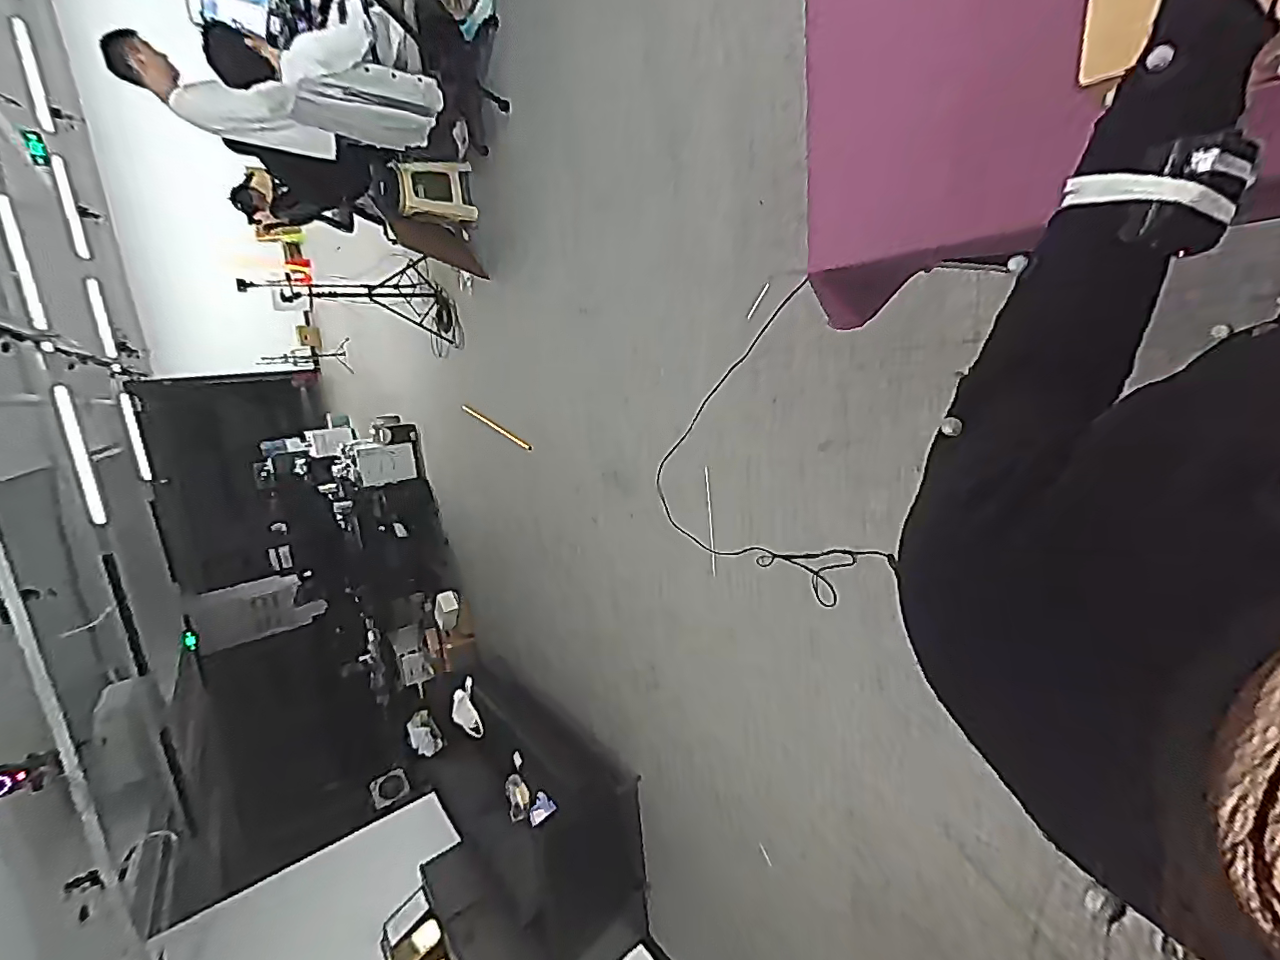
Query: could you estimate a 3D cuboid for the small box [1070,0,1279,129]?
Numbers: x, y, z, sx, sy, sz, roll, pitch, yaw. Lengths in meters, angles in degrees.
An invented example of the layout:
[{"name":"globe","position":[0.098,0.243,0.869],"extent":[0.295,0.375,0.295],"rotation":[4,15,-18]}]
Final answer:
[{"name":"small box","position":[0.498,-0.420,0.452],"extent":[0.168,0.176,0.179],"rotation":[15,111,50]}]
